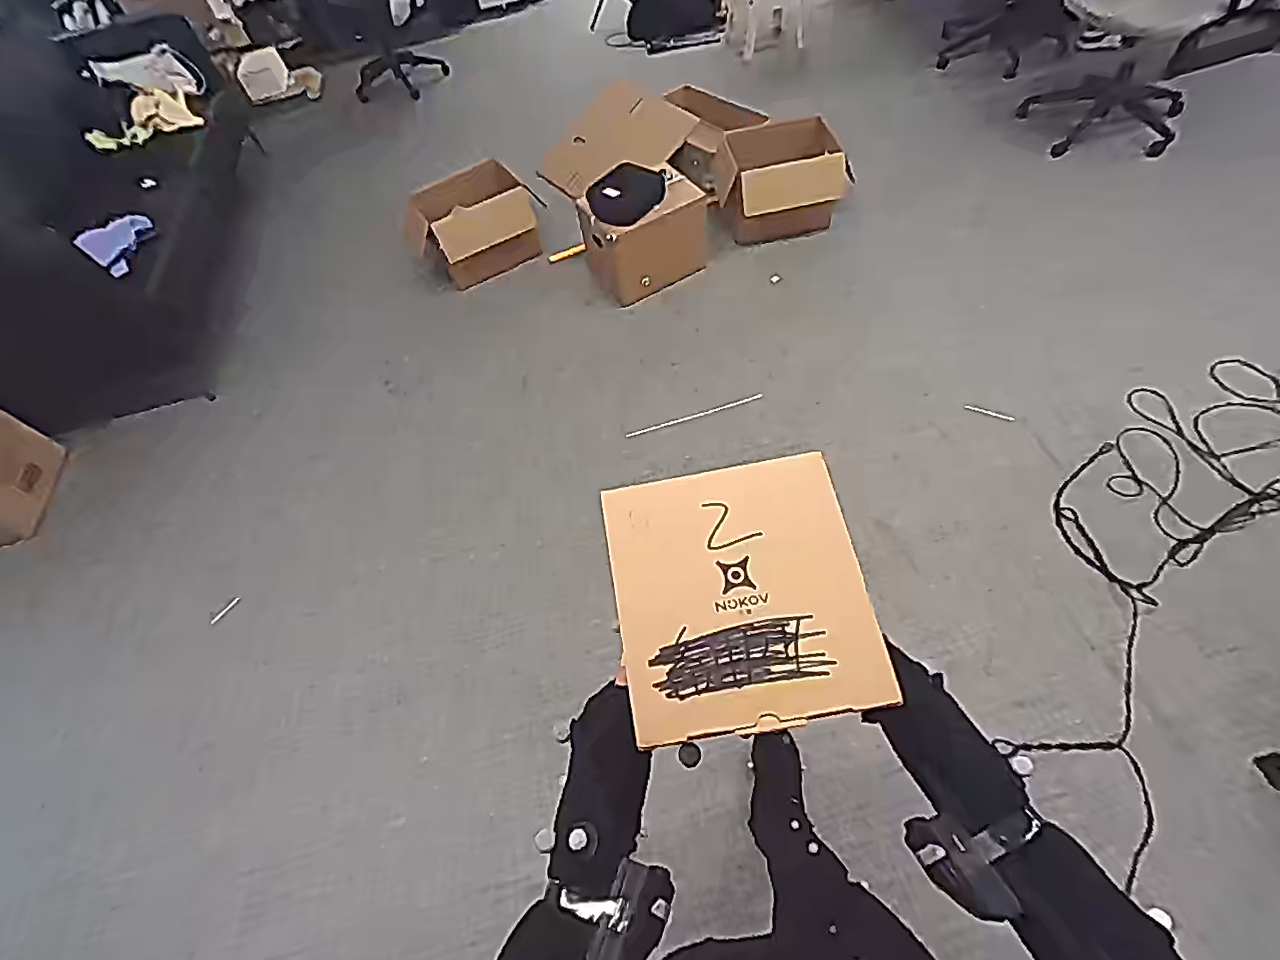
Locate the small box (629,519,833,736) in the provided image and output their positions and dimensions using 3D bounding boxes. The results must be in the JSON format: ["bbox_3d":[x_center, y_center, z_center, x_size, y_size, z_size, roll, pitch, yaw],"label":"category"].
[{"bbox_3d":[0.090,0.169,0.598,0.168,0.176,0.179,-13,61,1],"label":"small box"}]
